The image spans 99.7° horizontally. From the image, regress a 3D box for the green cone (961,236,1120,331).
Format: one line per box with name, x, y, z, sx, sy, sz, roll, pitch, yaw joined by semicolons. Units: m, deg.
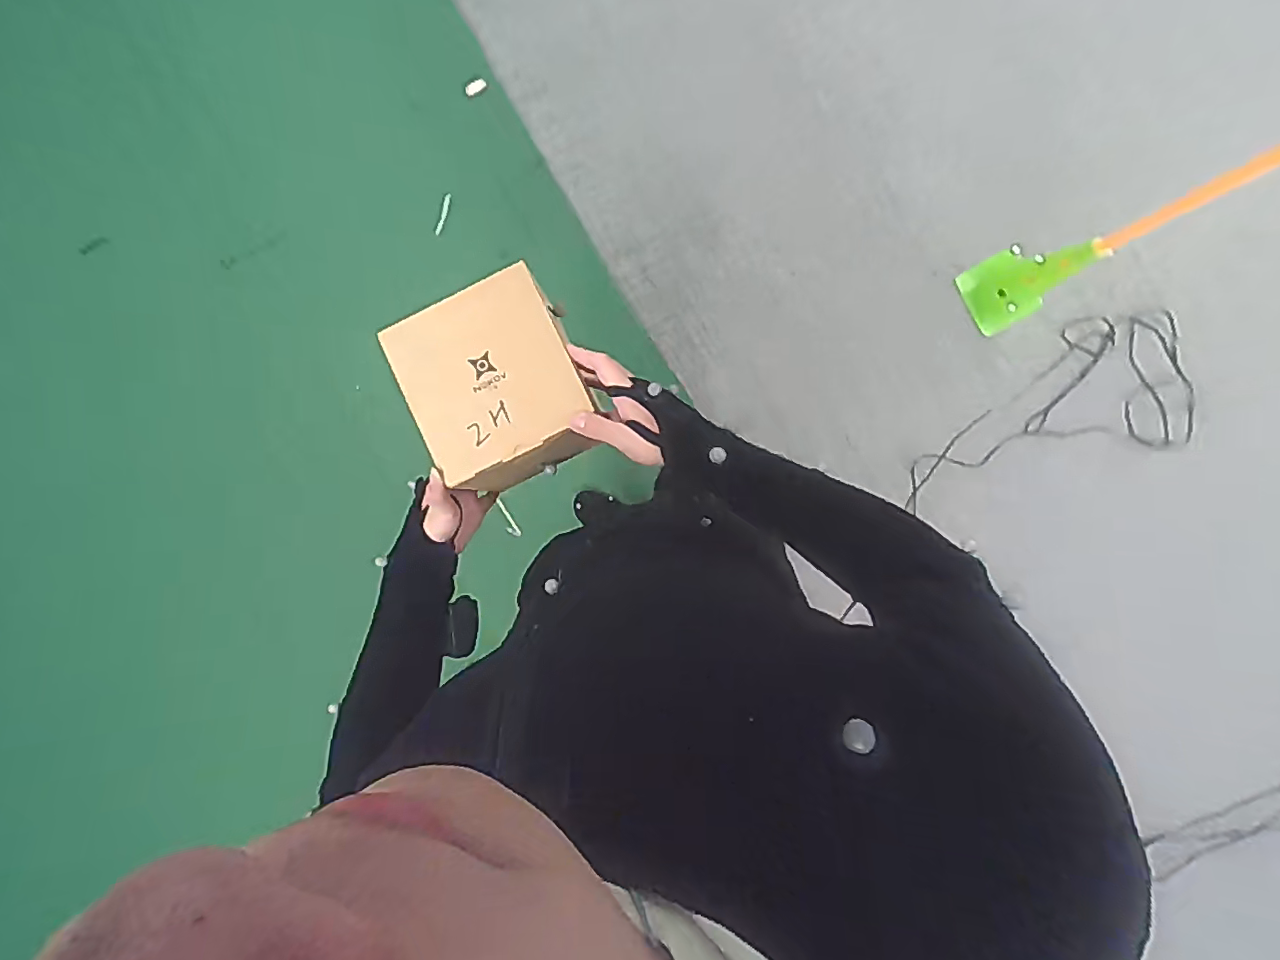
green cone;1.046;-0.543;1.384;0.200;0.368;0.202;-30;94;3
